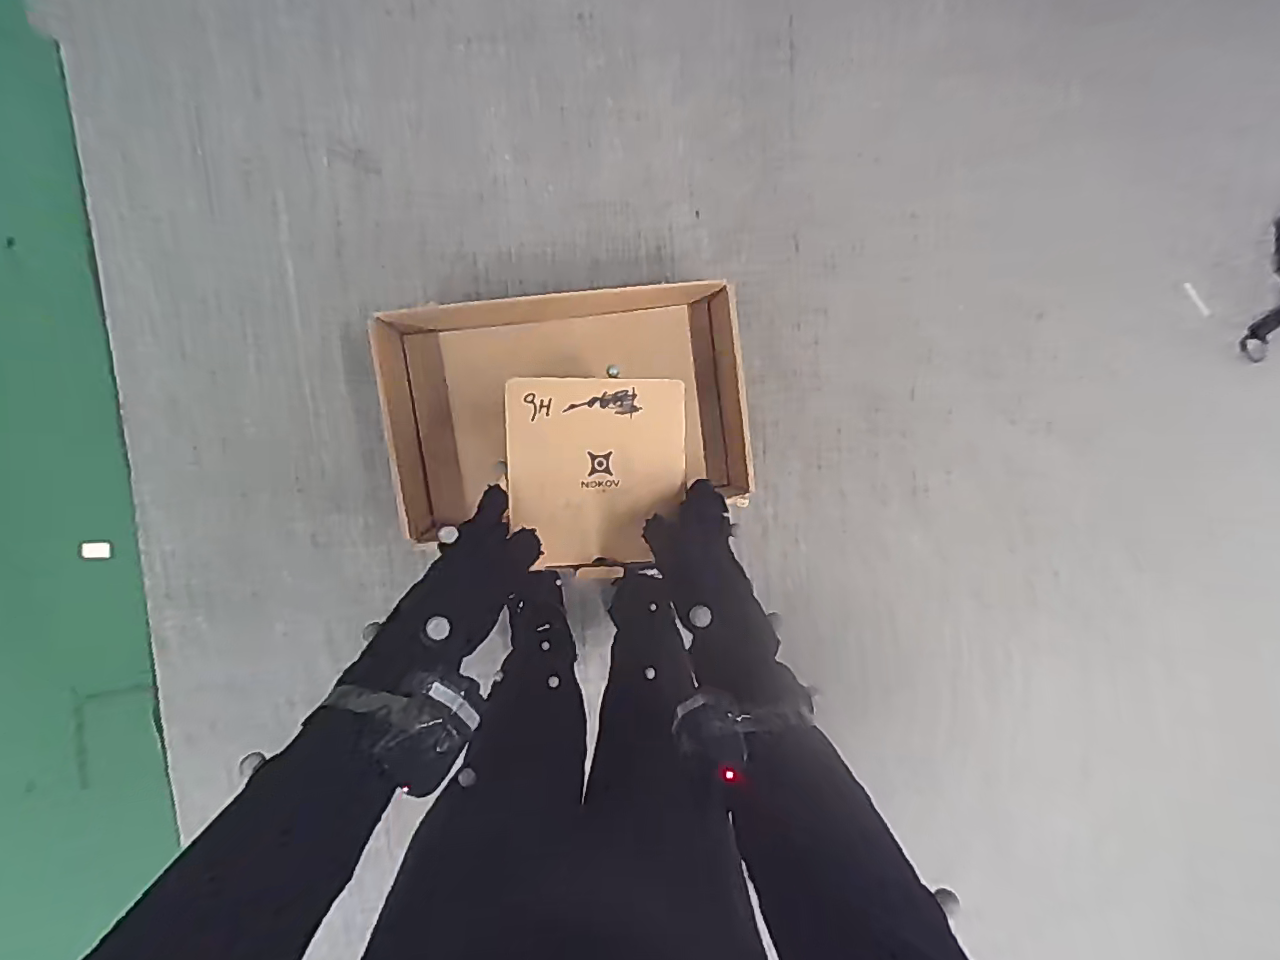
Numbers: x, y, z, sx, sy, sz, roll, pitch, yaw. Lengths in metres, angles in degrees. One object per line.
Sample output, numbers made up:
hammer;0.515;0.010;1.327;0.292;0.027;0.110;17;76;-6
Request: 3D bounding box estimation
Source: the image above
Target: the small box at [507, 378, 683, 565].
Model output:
small box;-0.053;-0.017;0.588;0.168;0.176;0.179;-2;96;-11
